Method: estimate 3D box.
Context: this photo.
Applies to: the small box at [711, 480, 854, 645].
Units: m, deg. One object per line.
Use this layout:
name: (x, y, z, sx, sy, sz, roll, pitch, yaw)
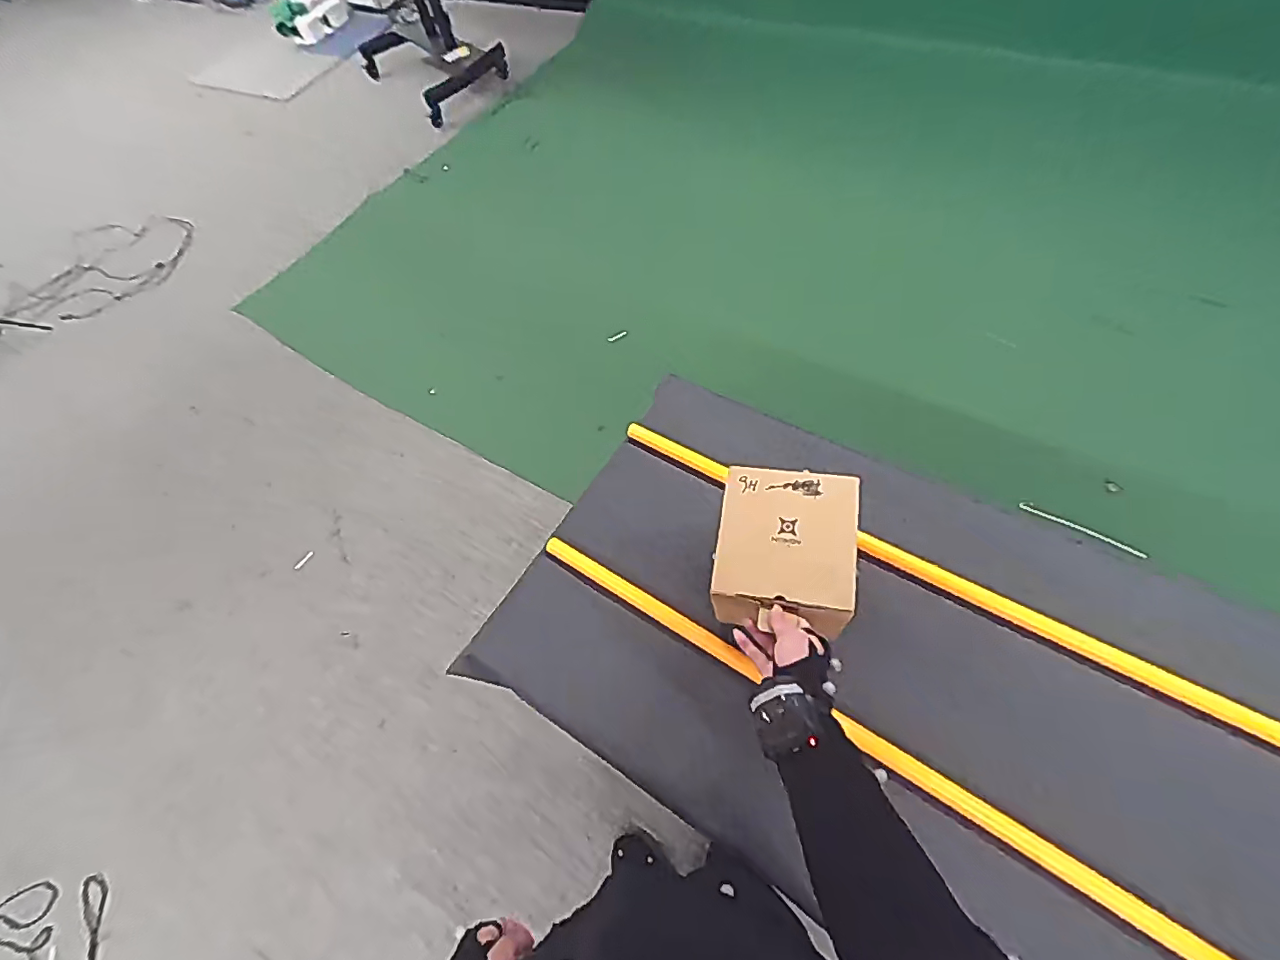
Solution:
small box: (0.195, 0.117, 0.737, 0.168, 0.176, 0.179, 3, 63, 15)
